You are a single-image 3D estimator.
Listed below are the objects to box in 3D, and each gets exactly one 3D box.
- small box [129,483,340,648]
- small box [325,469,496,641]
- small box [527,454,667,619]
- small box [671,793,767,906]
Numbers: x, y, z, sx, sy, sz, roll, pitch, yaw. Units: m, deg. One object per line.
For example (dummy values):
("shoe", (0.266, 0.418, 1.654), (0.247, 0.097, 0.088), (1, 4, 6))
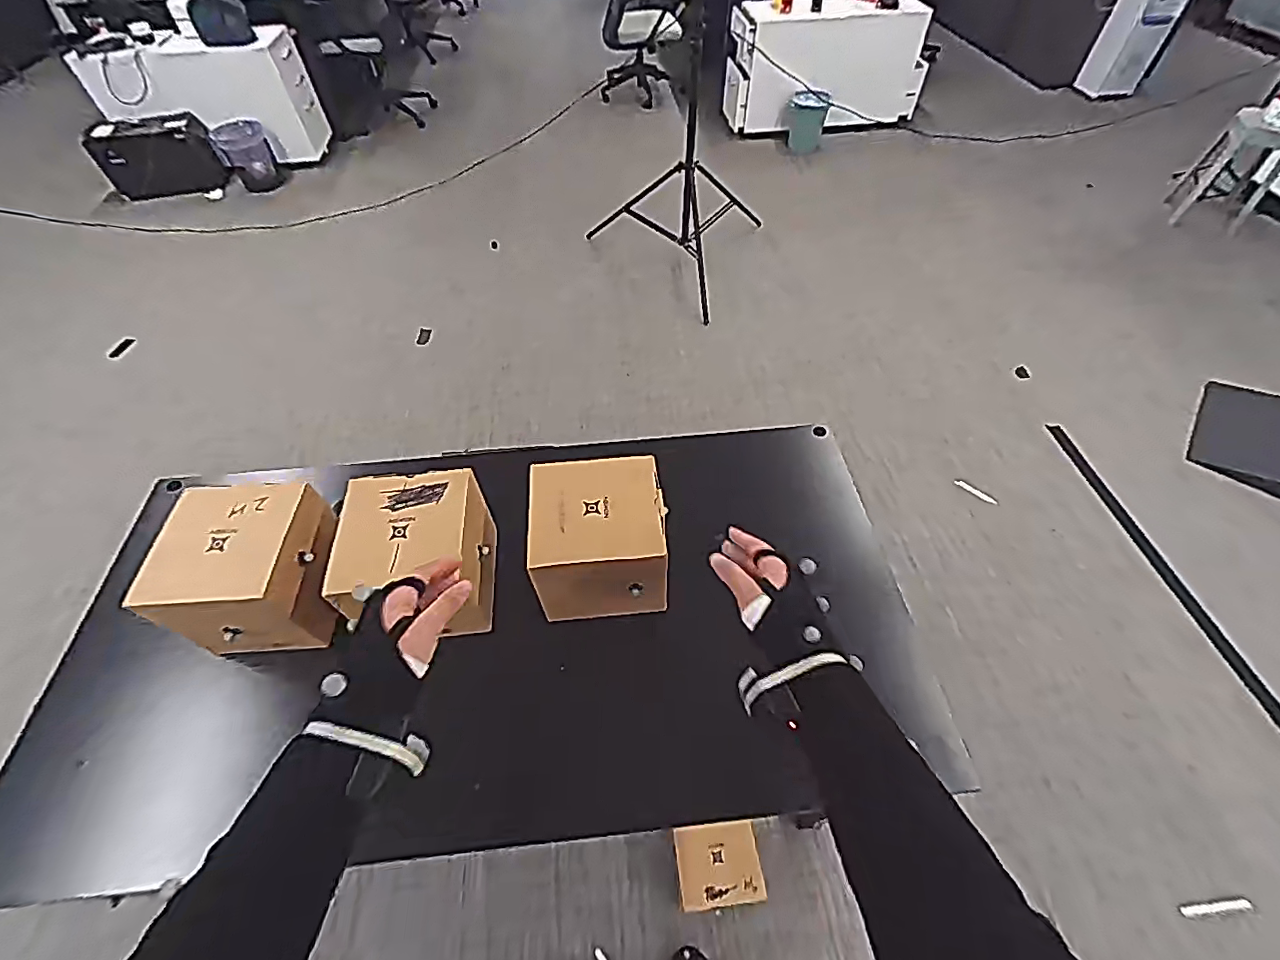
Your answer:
("small box", (-0.529, 0.125, 0.755), (0.168, 0.176, 0.179), (-3, 53, -2))
("small box", (-0.304, 0.108, 0.763), (0.168, 0.176, 0.179), (-6, 54, -3))
("small box", (-0.058, 0.084, 0.776), (0.179, 0.176, 0.168), (-6, 52, -2))
("small box", (0.158, 0.788, 1.150), (0.168, 0.176, 0.179), (-7, 53, -3))
